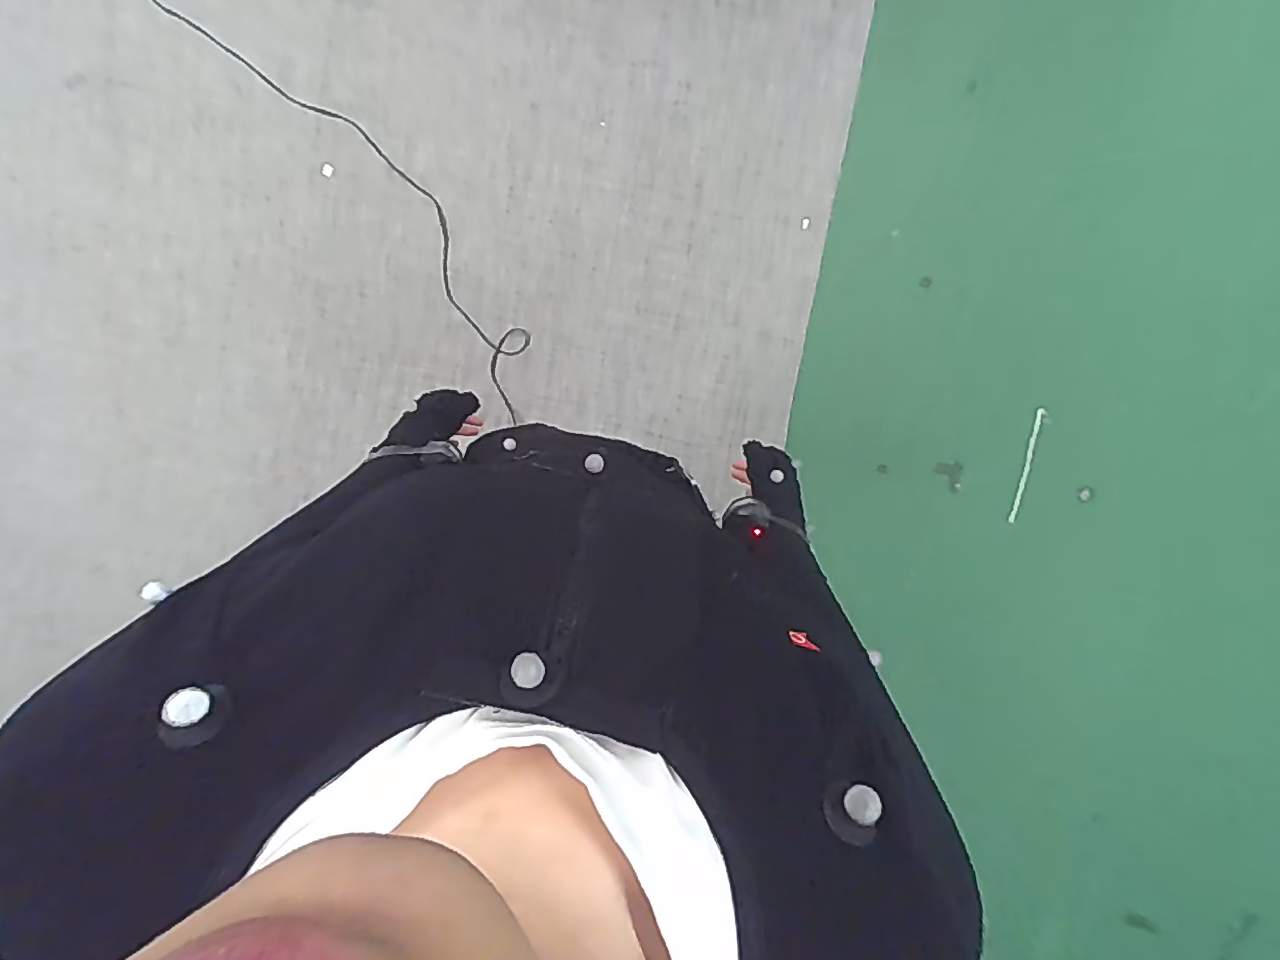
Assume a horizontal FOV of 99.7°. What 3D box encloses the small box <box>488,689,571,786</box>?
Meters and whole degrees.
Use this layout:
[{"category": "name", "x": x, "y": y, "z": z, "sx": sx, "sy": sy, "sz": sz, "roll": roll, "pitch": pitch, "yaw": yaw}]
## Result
[{"category": "small box", "x": -0.279, "y": 0.652, "z": 1.386, "sx": 0.179, "sy": 0.176, "sz": 0.168, "roll": 1, "pitch": 96, "yaw": 1}]
